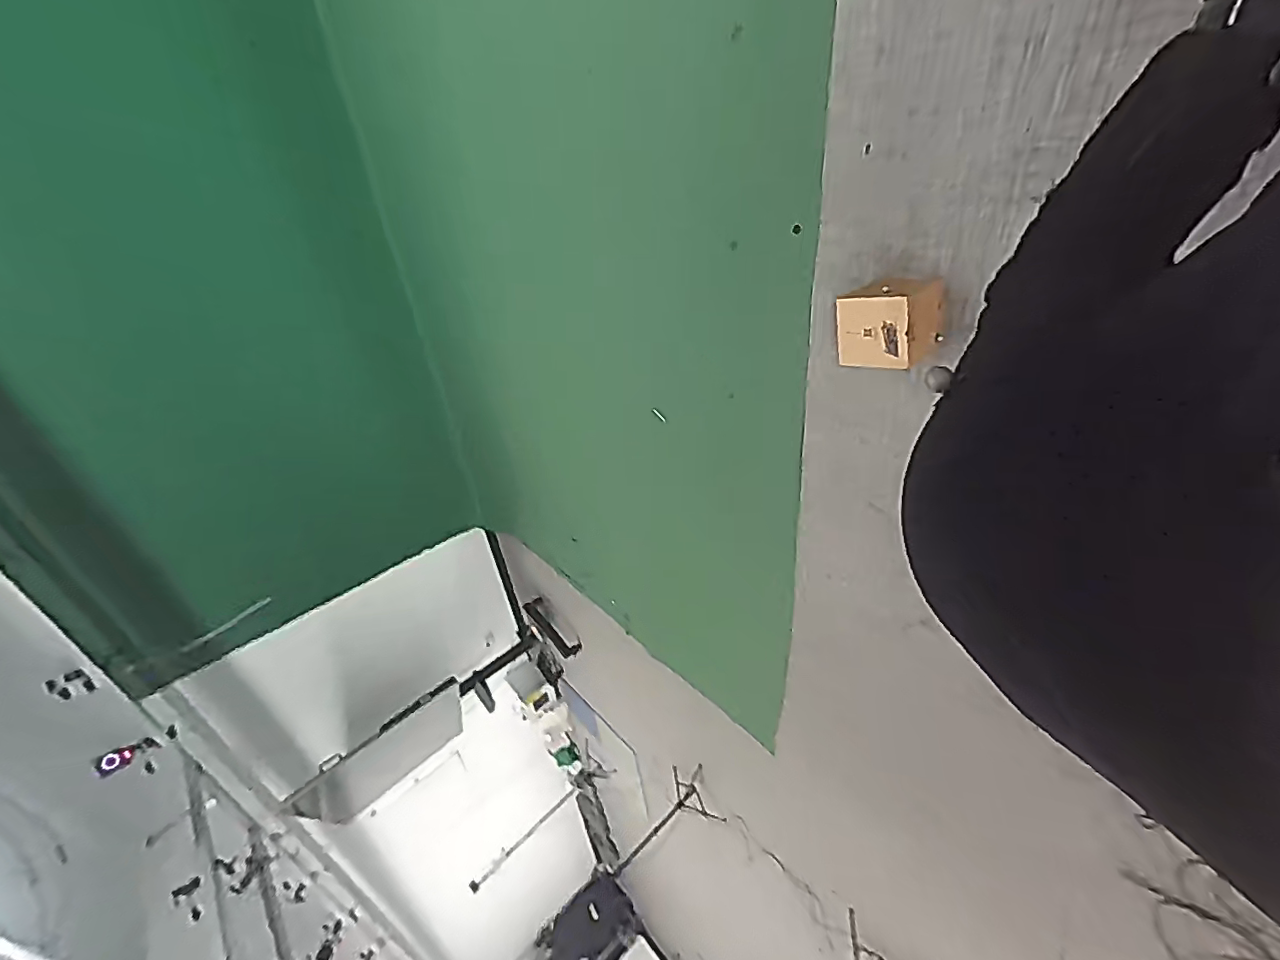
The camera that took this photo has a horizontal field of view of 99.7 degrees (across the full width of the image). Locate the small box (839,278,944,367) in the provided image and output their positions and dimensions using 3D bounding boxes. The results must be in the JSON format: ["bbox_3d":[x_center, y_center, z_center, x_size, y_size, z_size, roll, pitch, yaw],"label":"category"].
[{"bbox_3d":[0.604,-0.379,1.294,0.179,0.176,0.168,19,130,48],"label":"small box"}]
